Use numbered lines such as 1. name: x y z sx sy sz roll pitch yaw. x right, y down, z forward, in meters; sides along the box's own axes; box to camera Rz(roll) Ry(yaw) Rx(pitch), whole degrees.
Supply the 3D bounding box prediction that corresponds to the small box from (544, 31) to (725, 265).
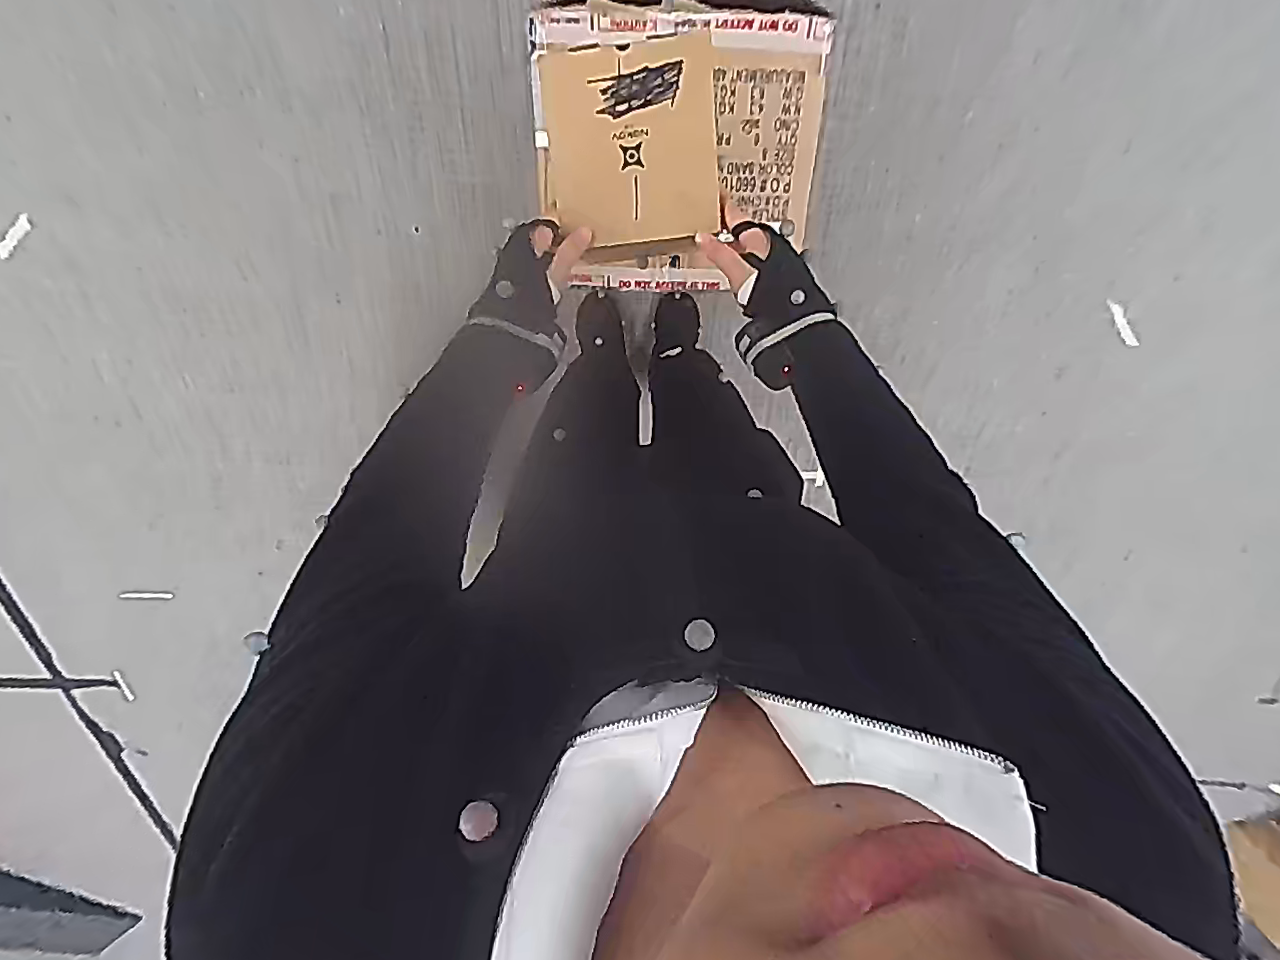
1. small box: 0.001 -0.344 0.597 0.168 0.176 0.179 -4 108 5
